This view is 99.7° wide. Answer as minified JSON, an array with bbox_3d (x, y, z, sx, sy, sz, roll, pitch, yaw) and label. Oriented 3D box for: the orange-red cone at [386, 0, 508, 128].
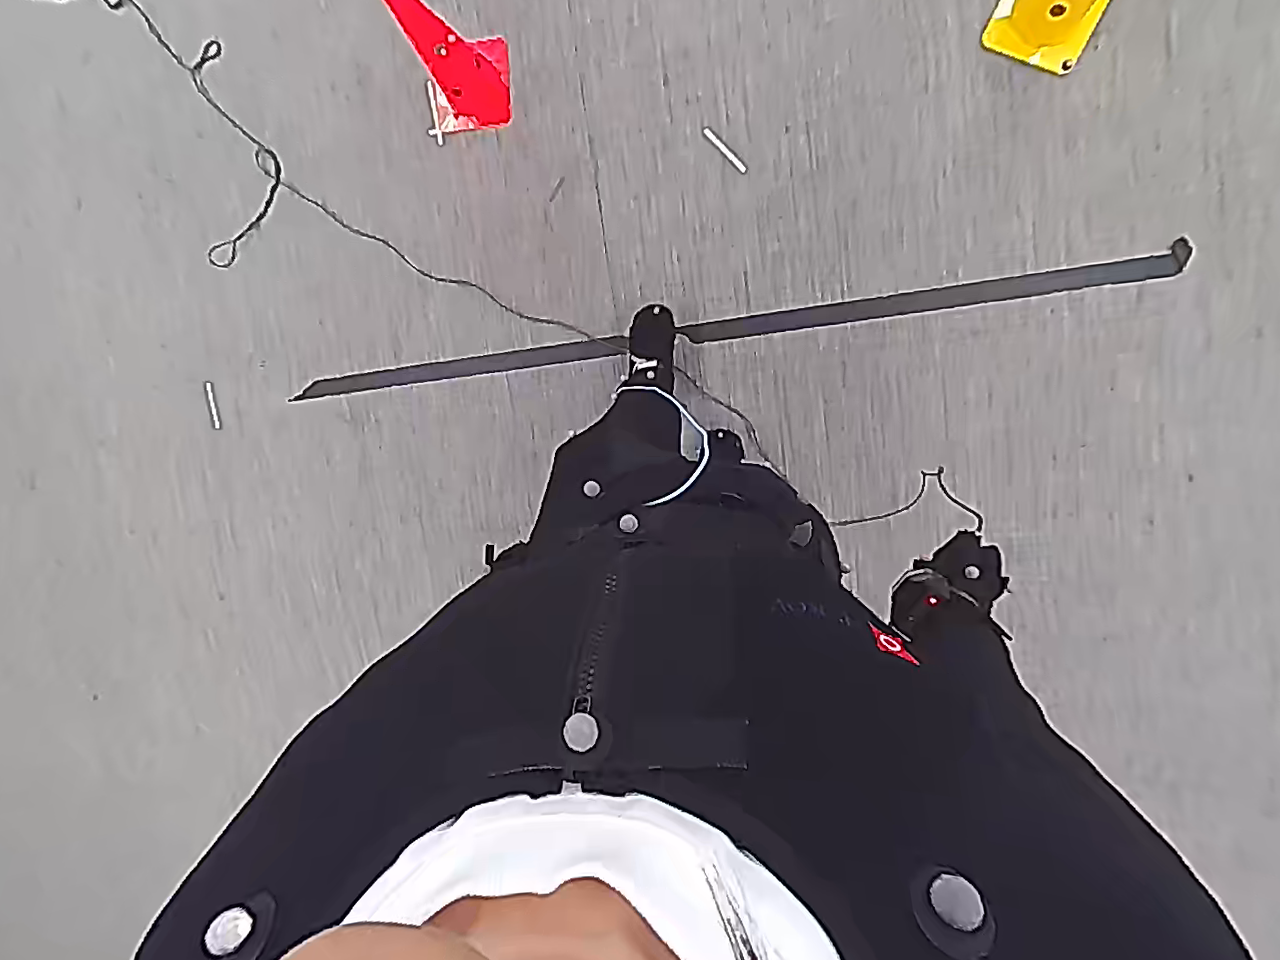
[{"bbox_3d":[-0.450,-0.964,1.185,0.199,0.360,0.198,1,99,8],"label":"orange-red cone"}]
